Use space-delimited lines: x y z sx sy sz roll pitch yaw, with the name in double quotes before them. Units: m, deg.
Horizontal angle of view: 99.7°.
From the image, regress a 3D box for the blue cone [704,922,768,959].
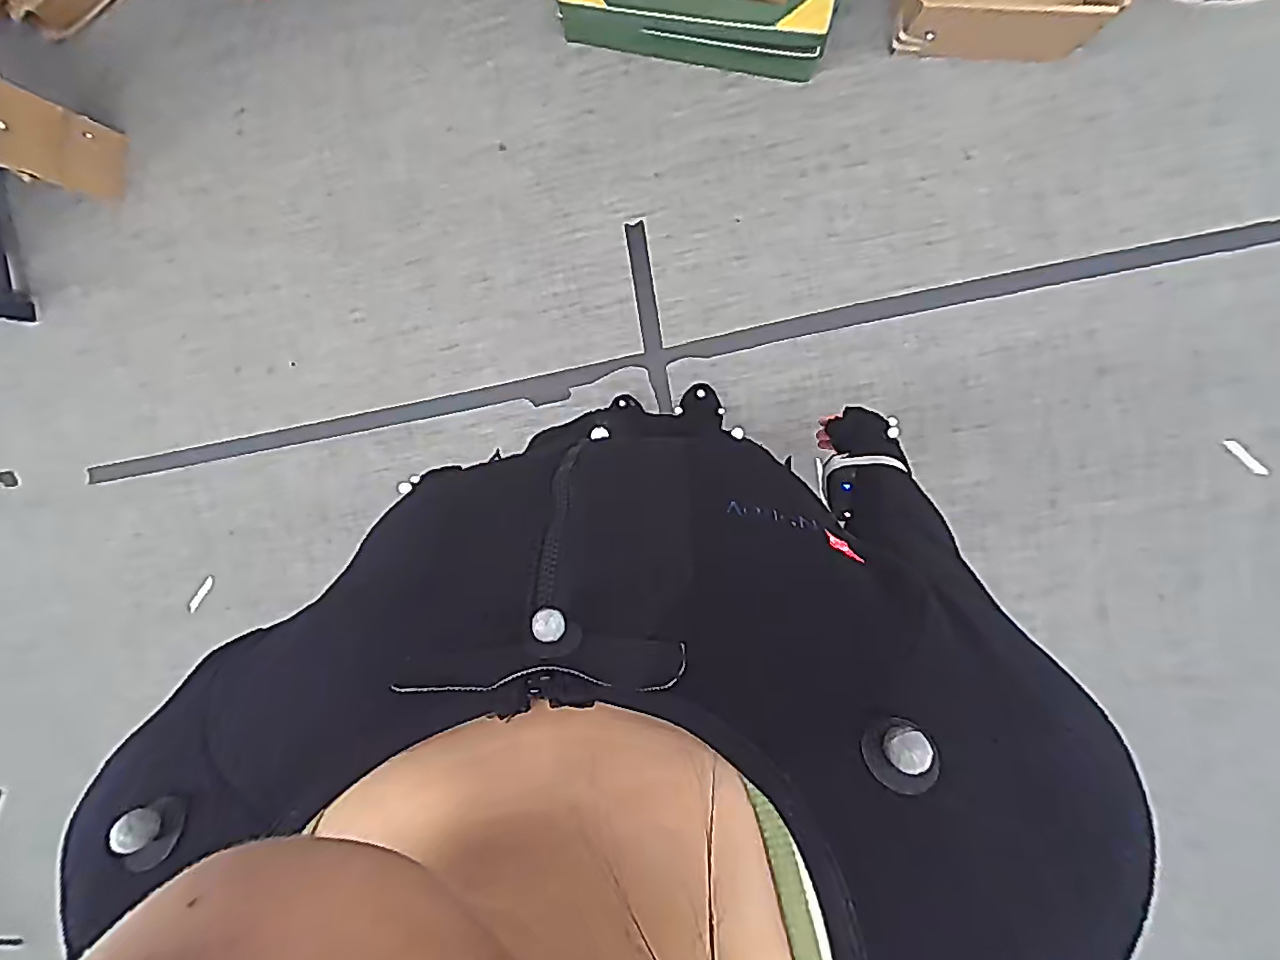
"blue cone" 0.284 1.491 1.523 0.193 0.380 0.192 -6 100 7
